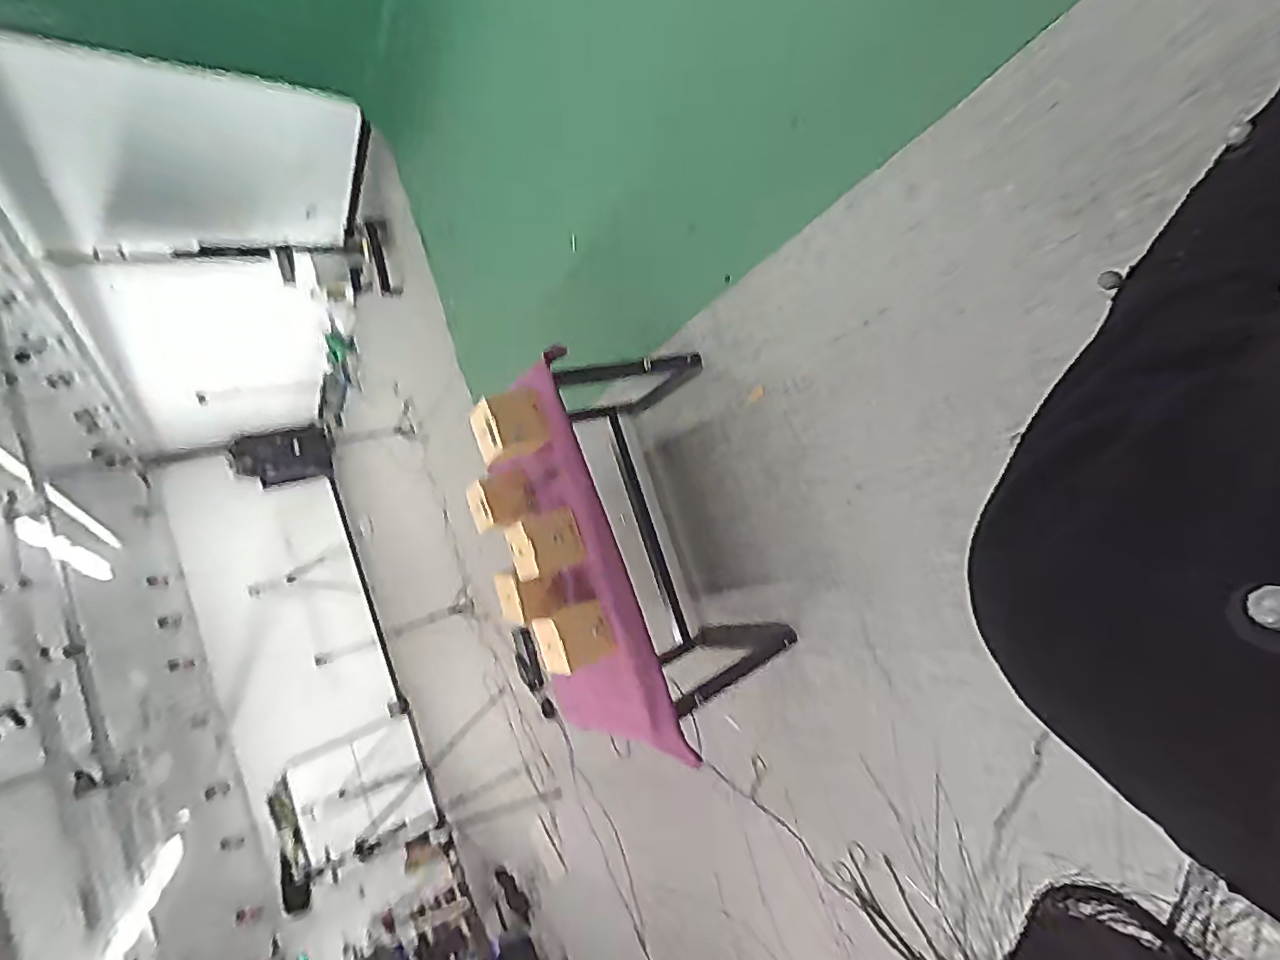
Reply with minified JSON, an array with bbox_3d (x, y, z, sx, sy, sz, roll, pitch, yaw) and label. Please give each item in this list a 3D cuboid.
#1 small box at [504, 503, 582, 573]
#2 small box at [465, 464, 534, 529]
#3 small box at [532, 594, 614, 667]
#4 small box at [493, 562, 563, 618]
[{"bbox_3d":[-0.297,0.179,1.687,0.179,0.176,0.168,-23,85,54],"label":"small box"},{"bbox_3d":[-0.486,0.055,1.887,0.179,0.176,0.168,-27,81,55],"label":"small box"},{"bbox_3d":[-0.207,0.464,1.681,0.179,0.176,0.168,-24,84,54],"label":"small box"},{"bbox_3d":[-0.381,0.362,1.872,0.179,0.176,0.168,-7,97,53],"label":"small box"}]
